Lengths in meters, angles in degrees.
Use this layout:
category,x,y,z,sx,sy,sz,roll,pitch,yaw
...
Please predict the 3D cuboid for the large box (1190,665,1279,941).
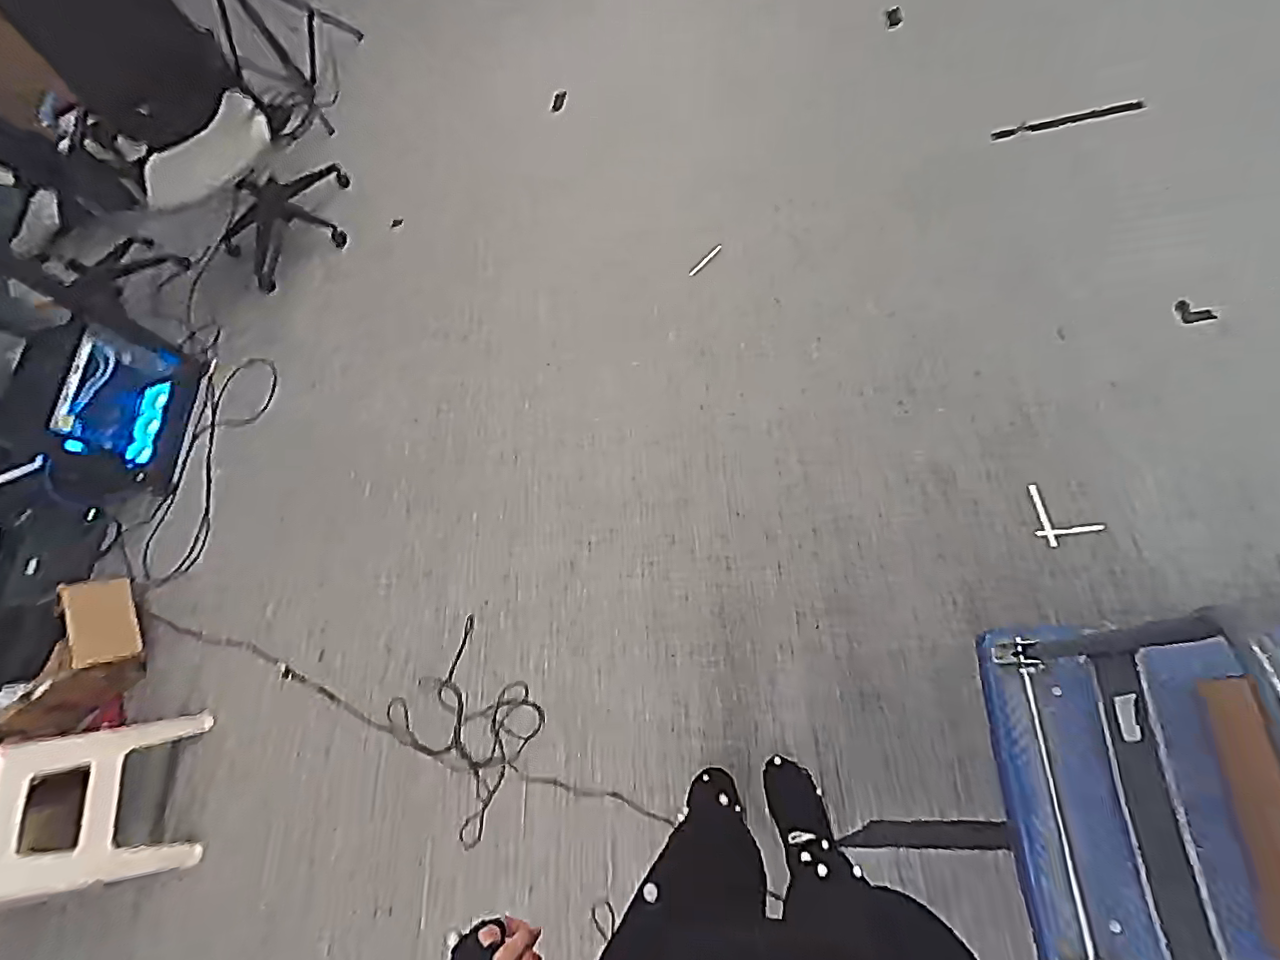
category,x,y,z,sx,sy,sz,roll,pitch,yaw
large box,1.062,0.459,0.705,0.320,0.320,0.408,-3,67,13
